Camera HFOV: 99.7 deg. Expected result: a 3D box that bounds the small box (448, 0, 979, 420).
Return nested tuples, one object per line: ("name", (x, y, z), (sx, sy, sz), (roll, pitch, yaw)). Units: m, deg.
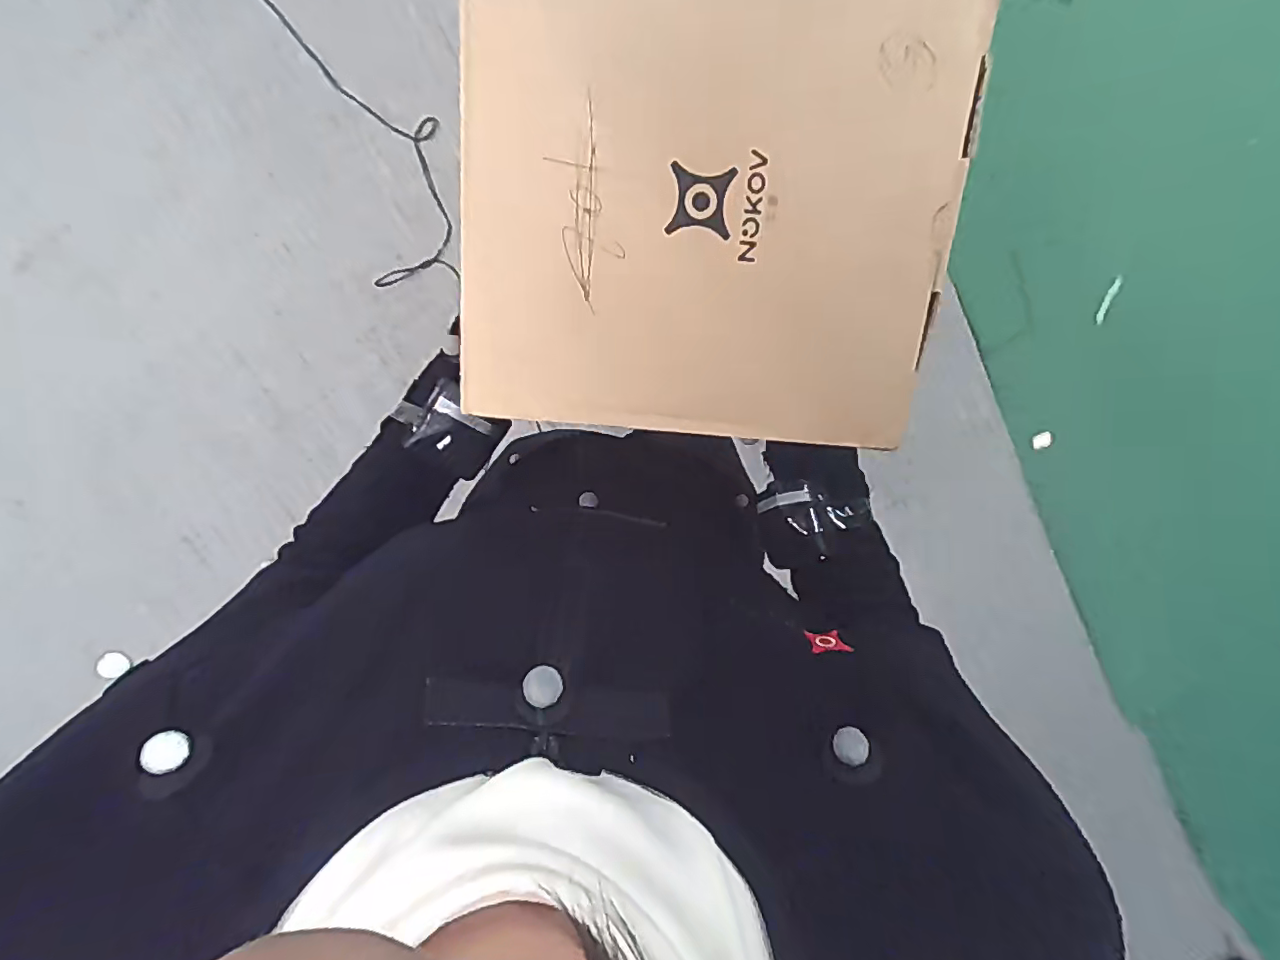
("small box", (0.020, -0.127, 0.266), (0.179, 0.176, 0.168), (3, 104, -1))
